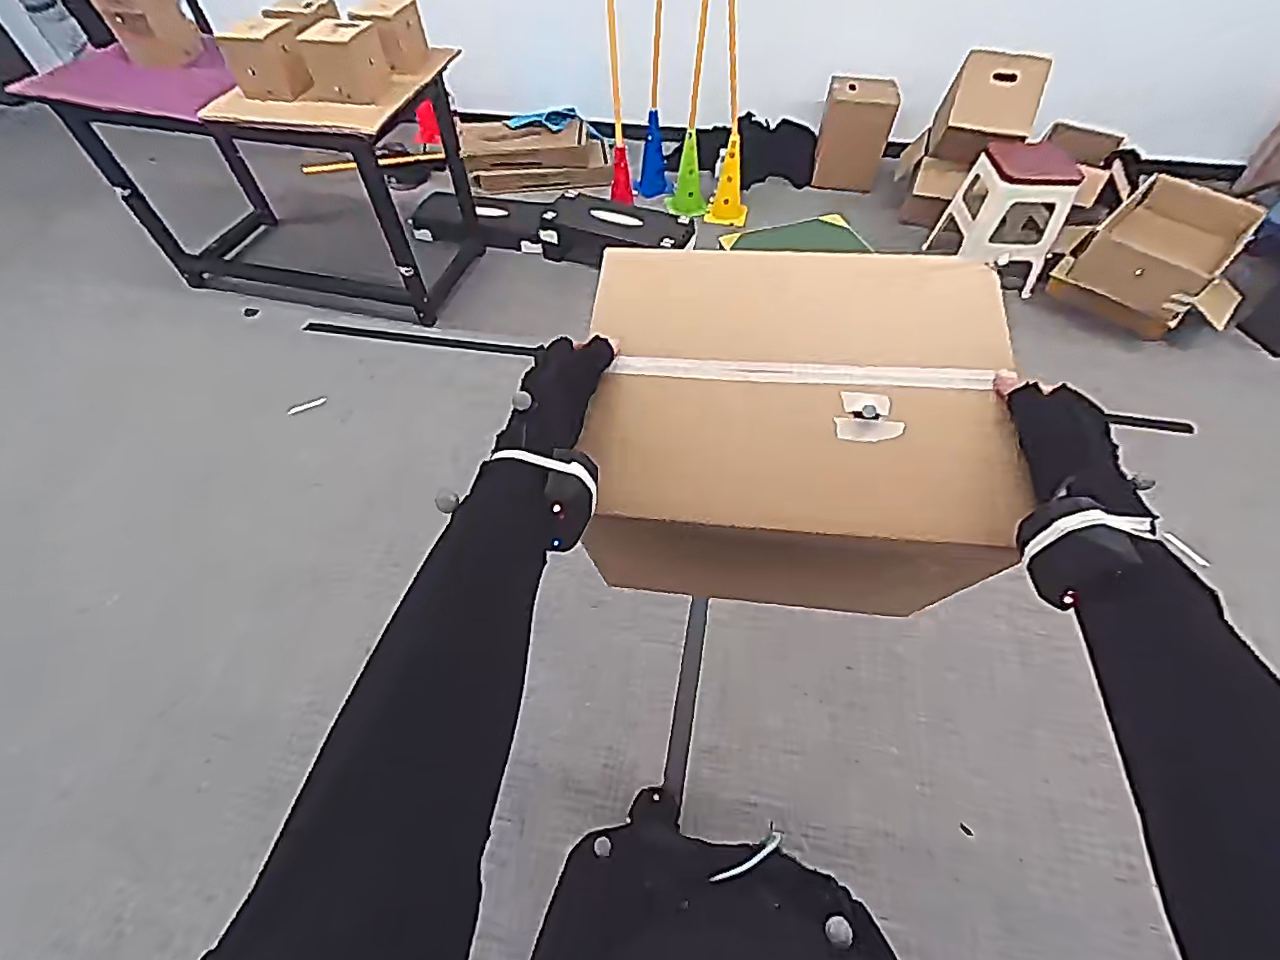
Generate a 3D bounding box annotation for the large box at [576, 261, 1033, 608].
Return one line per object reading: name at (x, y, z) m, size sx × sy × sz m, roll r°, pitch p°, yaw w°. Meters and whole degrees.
large box at (0.162, -0.038, 0.669) m, size 0.408 × 0.320 × 0.320 m, roll 5°, pitch 68°, yaw 7°
